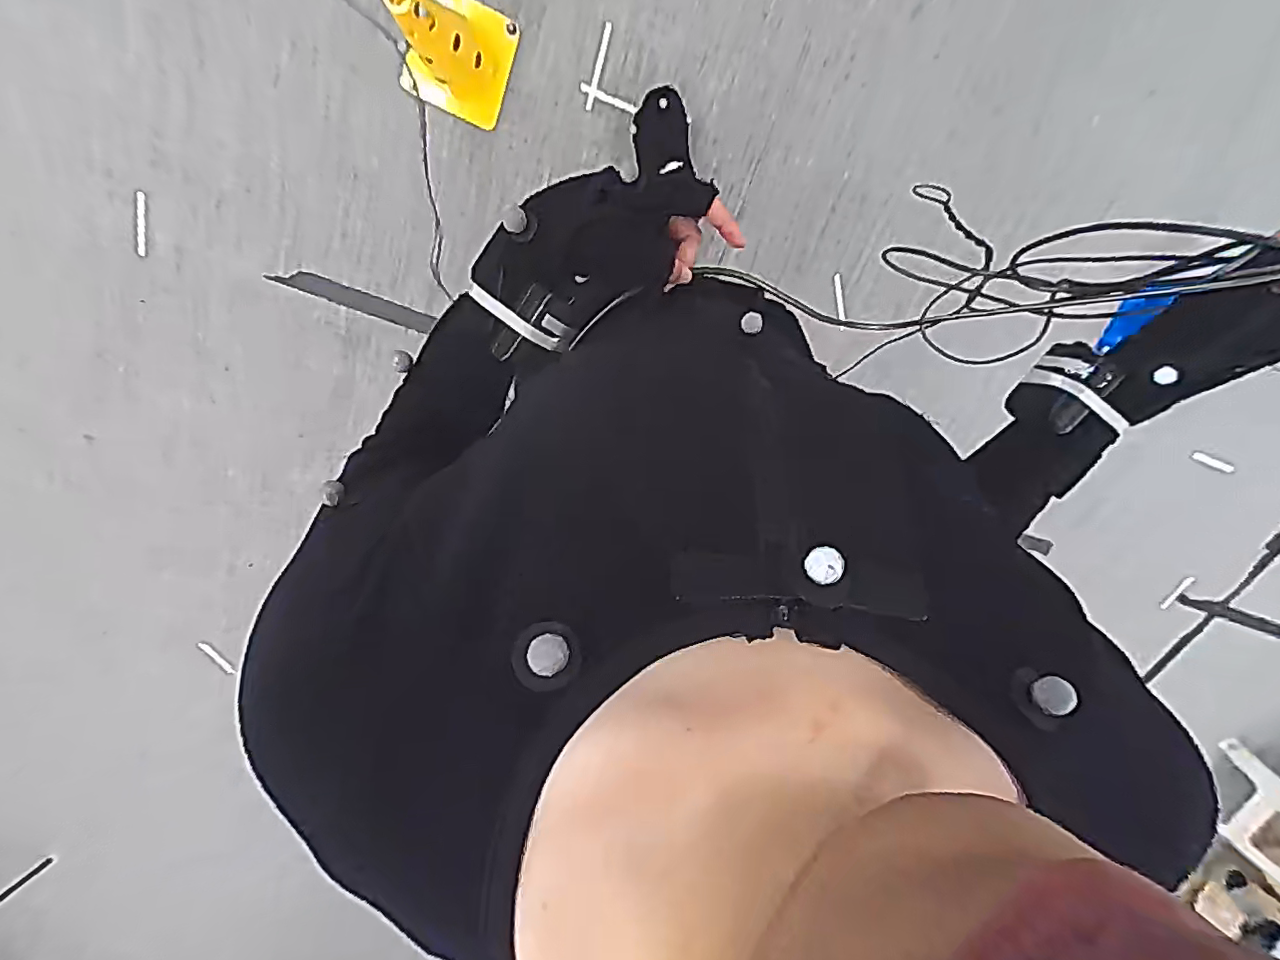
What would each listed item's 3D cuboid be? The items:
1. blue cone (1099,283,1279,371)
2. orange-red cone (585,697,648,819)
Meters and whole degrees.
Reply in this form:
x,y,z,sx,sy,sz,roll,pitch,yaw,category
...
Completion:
x,y,z,sx,sy,sz,roll,pitch,yaw,category
1.309,-0.322,1.237,0.193,0.380,0.192,13,115,-9,blue cone
-0.076,0.940,1.803,0.199,0.360,0.198,13,116,-10,orange-red cone
